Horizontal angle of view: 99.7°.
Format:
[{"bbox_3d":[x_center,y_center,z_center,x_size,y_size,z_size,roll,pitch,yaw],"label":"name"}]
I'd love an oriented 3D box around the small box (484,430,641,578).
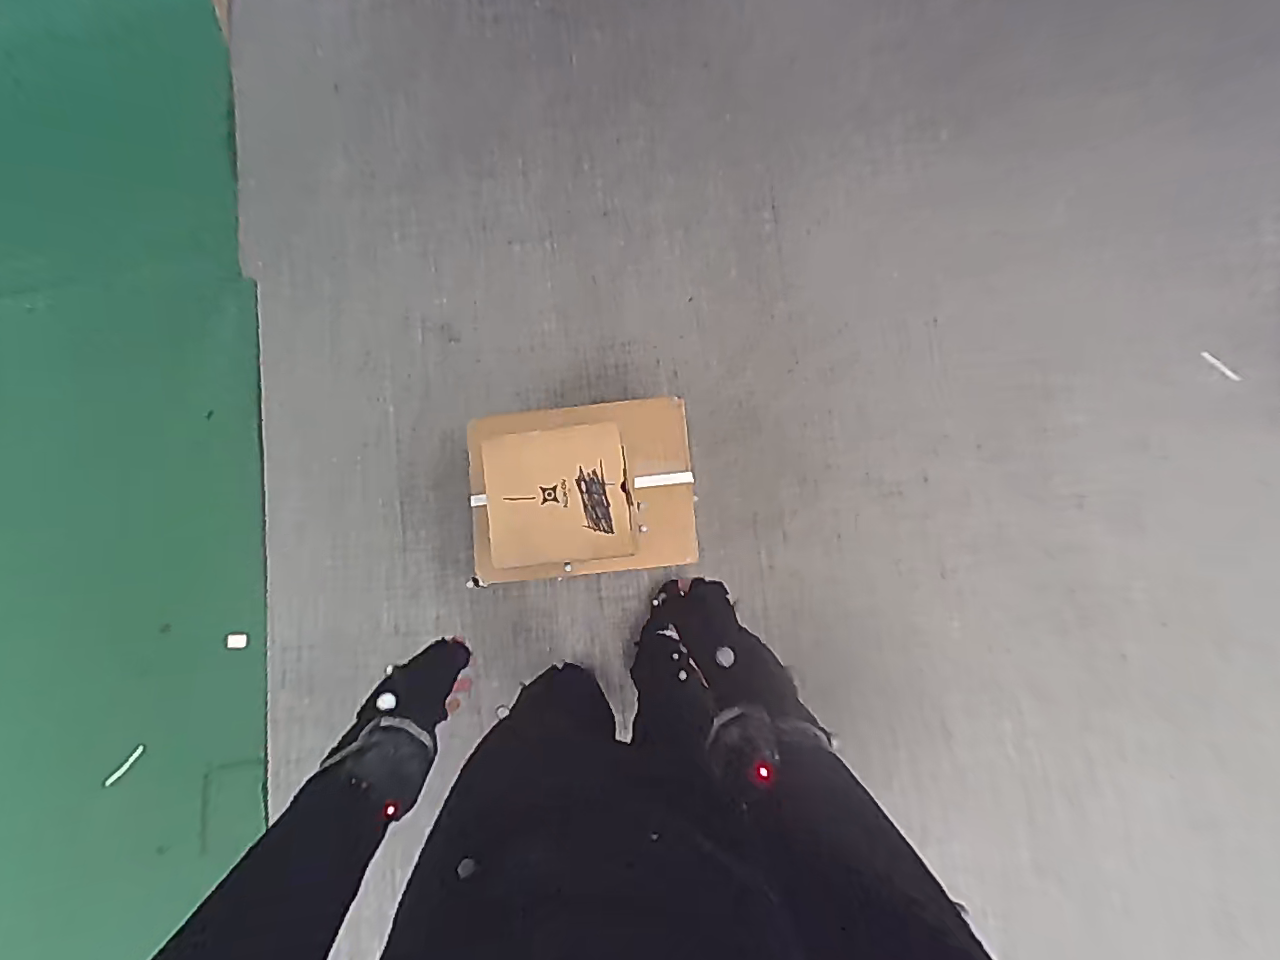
[{"bbox_3d":[-0.094,0.035,0.735,0.179,0.176,0.168,-8,84,4],"label":"small box"}]
